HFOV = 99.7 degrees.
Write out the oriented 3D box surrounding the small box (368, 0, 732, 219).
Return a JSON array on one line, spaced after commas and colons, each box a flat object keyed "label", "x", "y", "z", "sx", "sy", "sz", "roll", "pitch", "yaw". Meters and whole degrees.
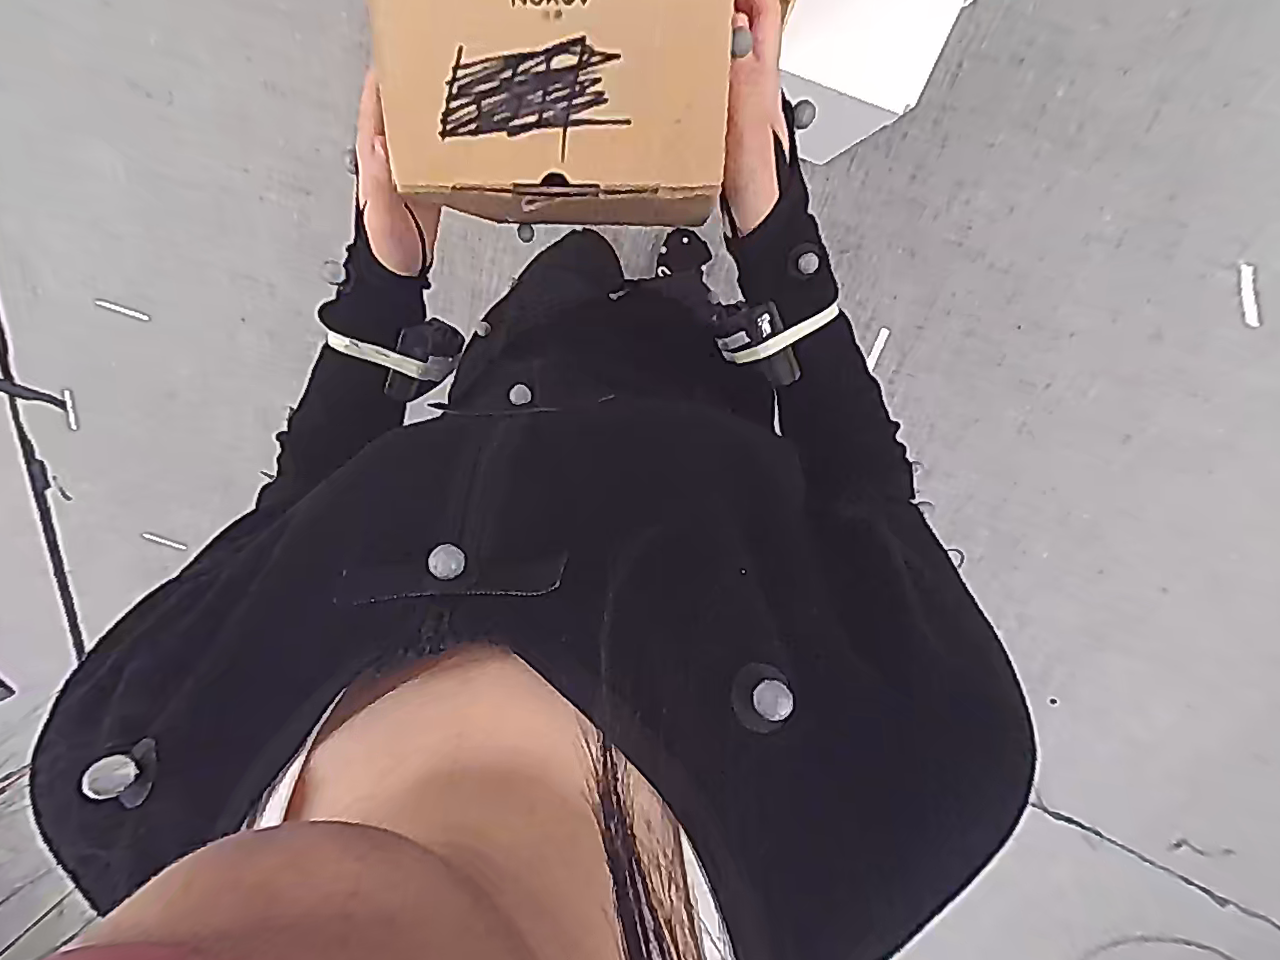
[{"label": "small box", "x": -0.034, "y": -0.253, "z": 0.307, "sx": 0.168, "sy": 0.176, "sz": 0.179, "roll": 3, "pitch": 109, "yaw": 2}]
